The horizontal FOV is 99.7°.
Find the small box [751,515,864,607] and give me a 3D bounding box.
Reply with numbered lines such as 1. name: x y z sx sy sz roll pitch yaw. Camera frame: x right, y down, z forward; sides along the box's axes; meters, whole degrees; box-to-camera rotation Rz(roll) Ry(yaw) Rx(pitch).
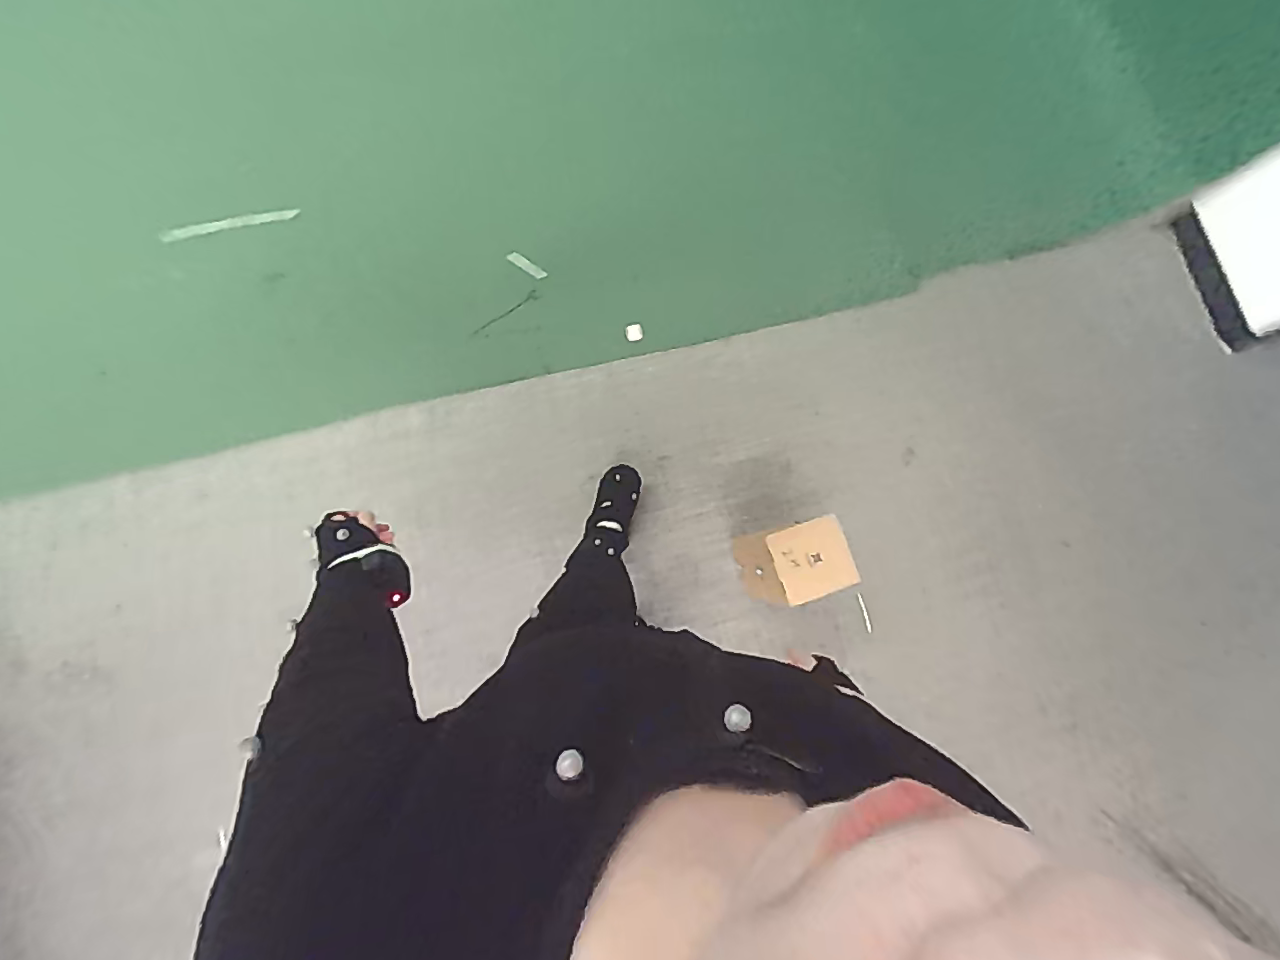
1. small box: 0.386 0.189 1.276 0.179 0.176 0.168 -18 82 -5
